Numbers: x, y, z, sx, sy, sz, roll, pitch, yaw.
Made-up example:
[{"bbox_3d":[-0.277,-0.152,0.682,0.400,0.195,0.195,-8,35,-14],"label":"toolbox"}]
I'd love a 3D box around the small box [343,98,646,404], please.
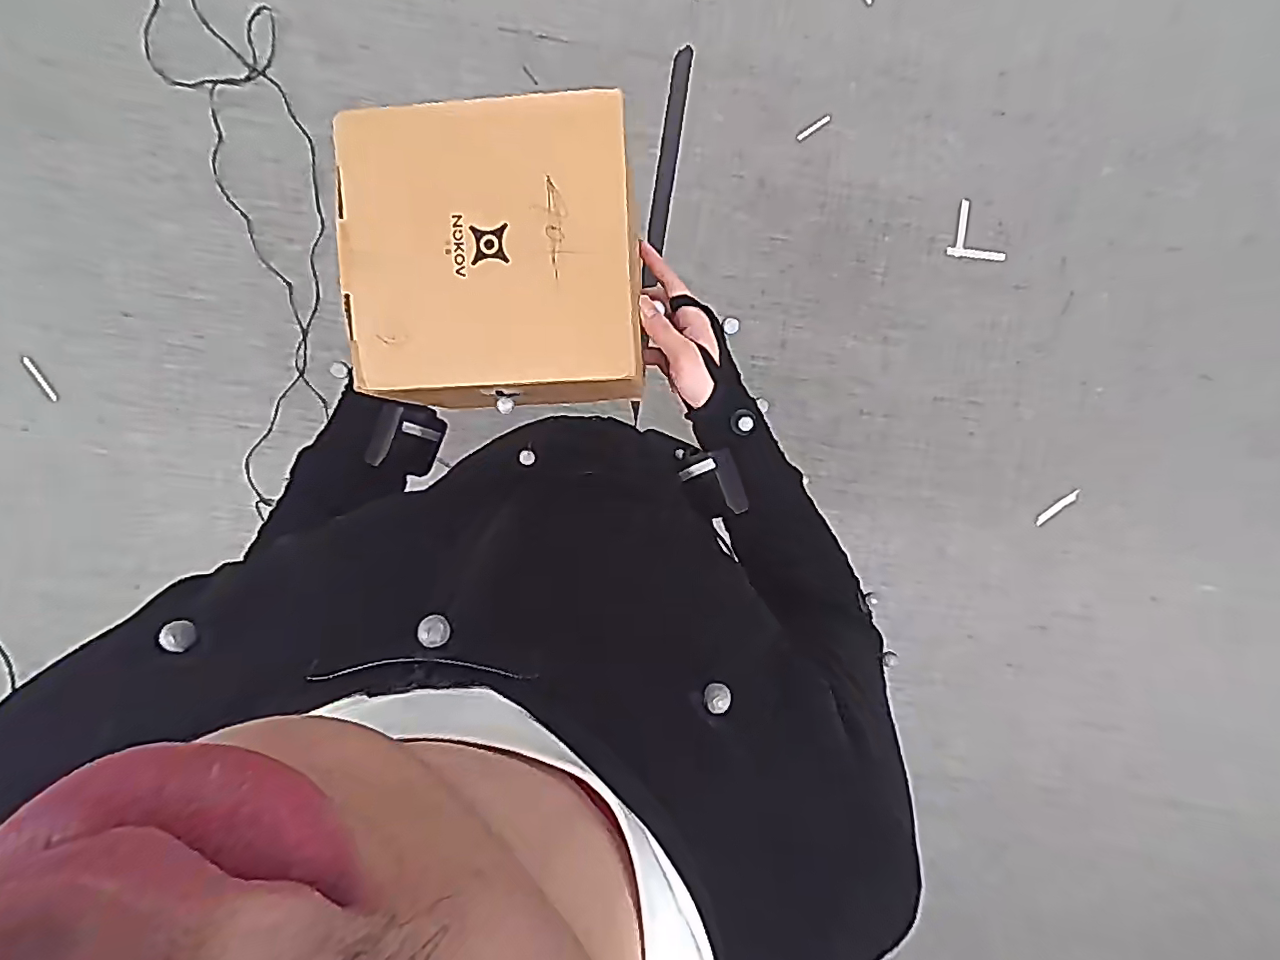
[{"bbox_3d":[-0.089,-0.148,0.411,0.179,0.176,0.168,-2,94,3],"label":"small box"}]
